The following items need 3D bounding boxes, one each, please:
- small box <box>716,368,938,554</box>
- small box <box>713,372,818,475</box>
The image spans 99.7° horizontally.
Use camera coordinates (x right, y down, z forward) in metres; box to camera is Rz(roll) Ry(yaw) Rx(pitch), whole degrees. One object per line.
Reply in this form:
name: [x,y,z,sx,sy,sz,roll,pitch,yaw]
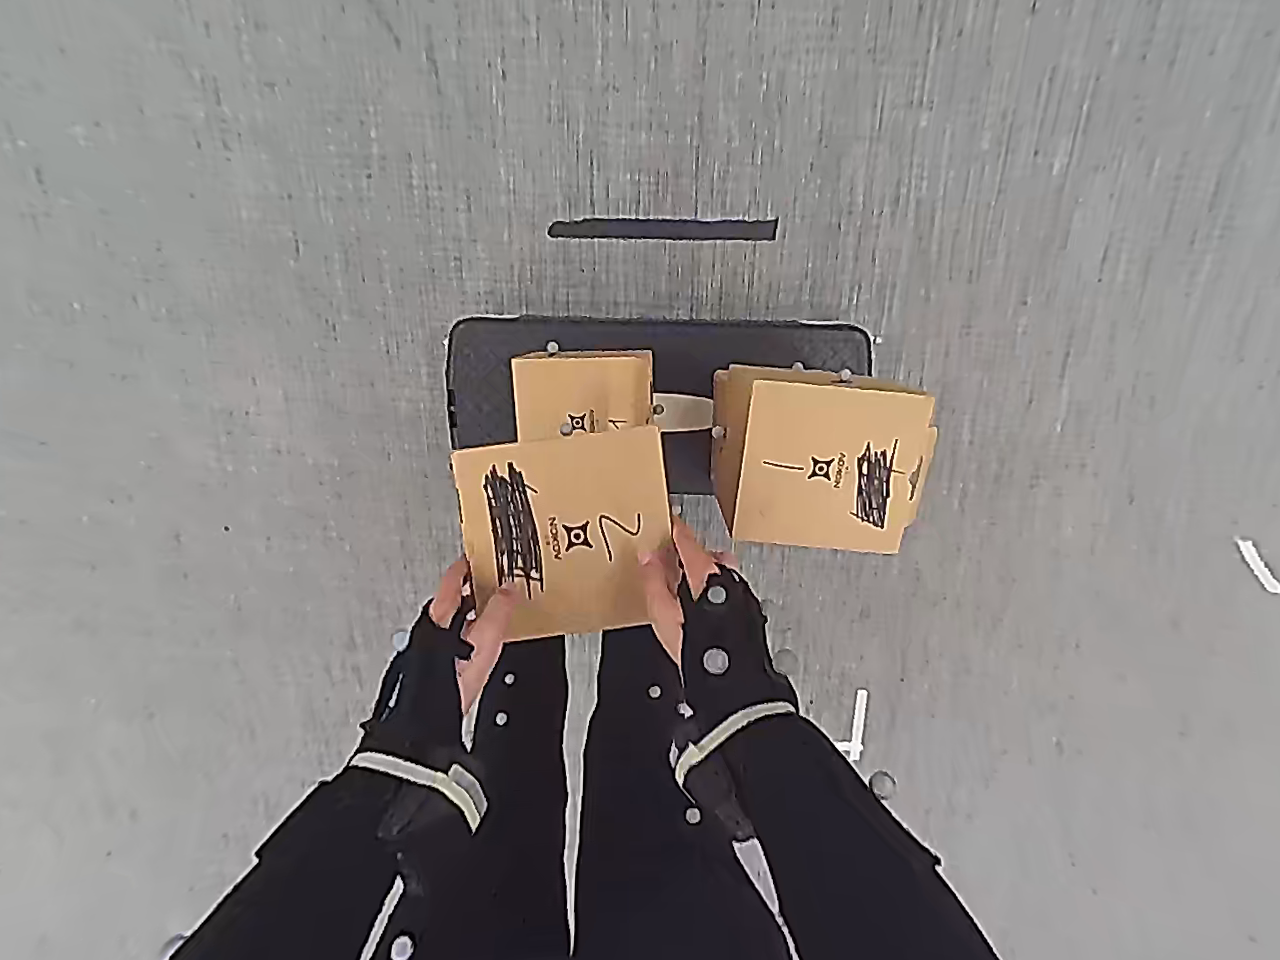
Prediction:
small box: [0.190,-0.032,0.609,0.179,0.176,0.168,5,106,0]
small box: [0.196,-0.062,0.771,0.168,0.176,0.179,-1,106,1]
